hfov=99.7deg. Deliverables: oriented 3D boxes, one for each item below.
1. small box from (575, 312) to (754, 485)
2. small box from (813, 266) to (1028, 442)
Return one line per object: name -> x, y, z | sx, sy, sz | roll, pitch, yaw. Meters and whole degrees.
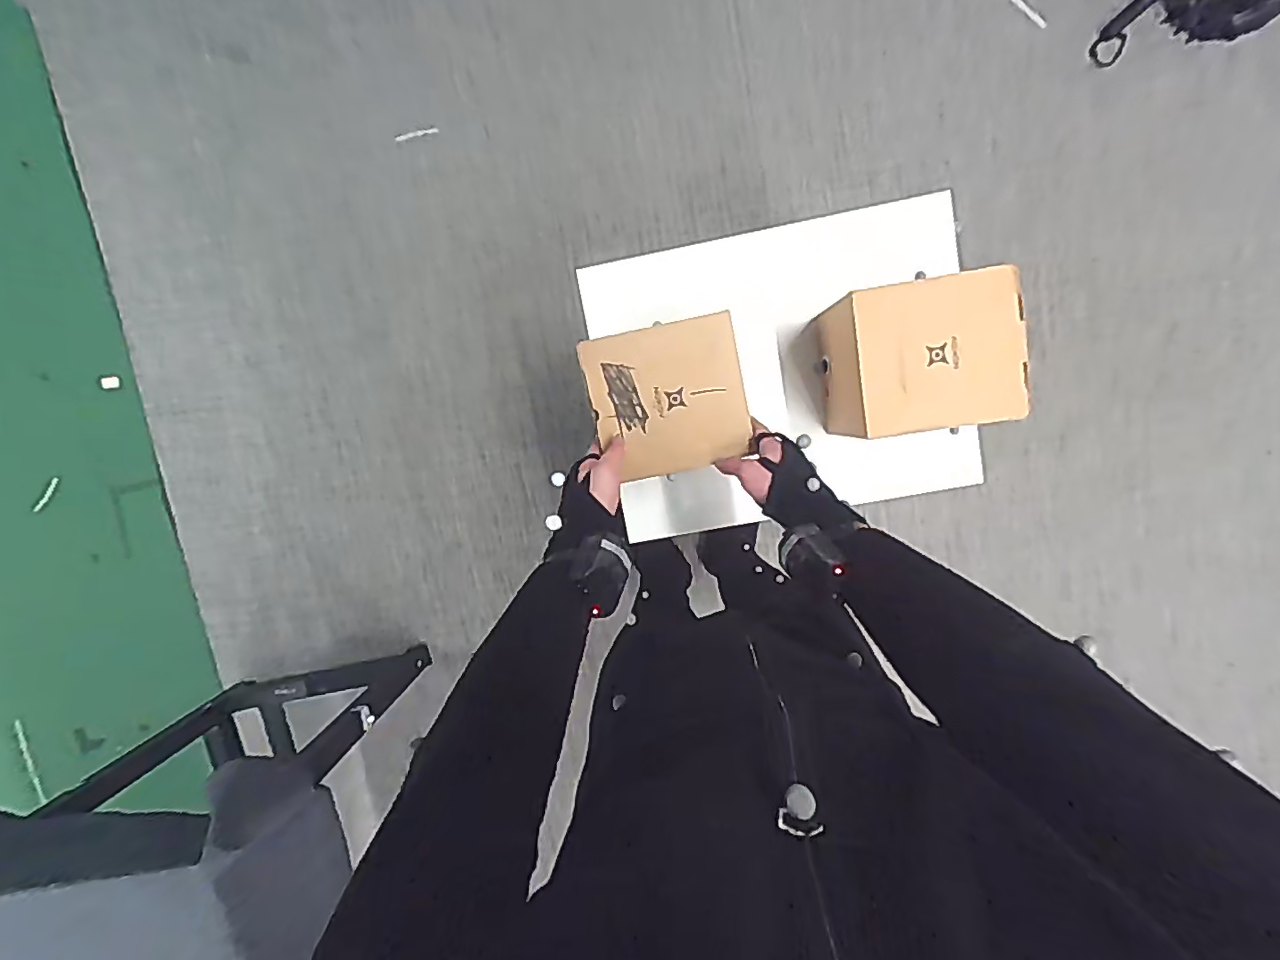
small box -> 0.030, -0.095, 0.676 | 0.179, 0.176, 0.168 | -12, 96, 3
small box -> 0.325, -0.143, 0.656 | 0.179, 0.176, 0.168 | -8, 96, 6
